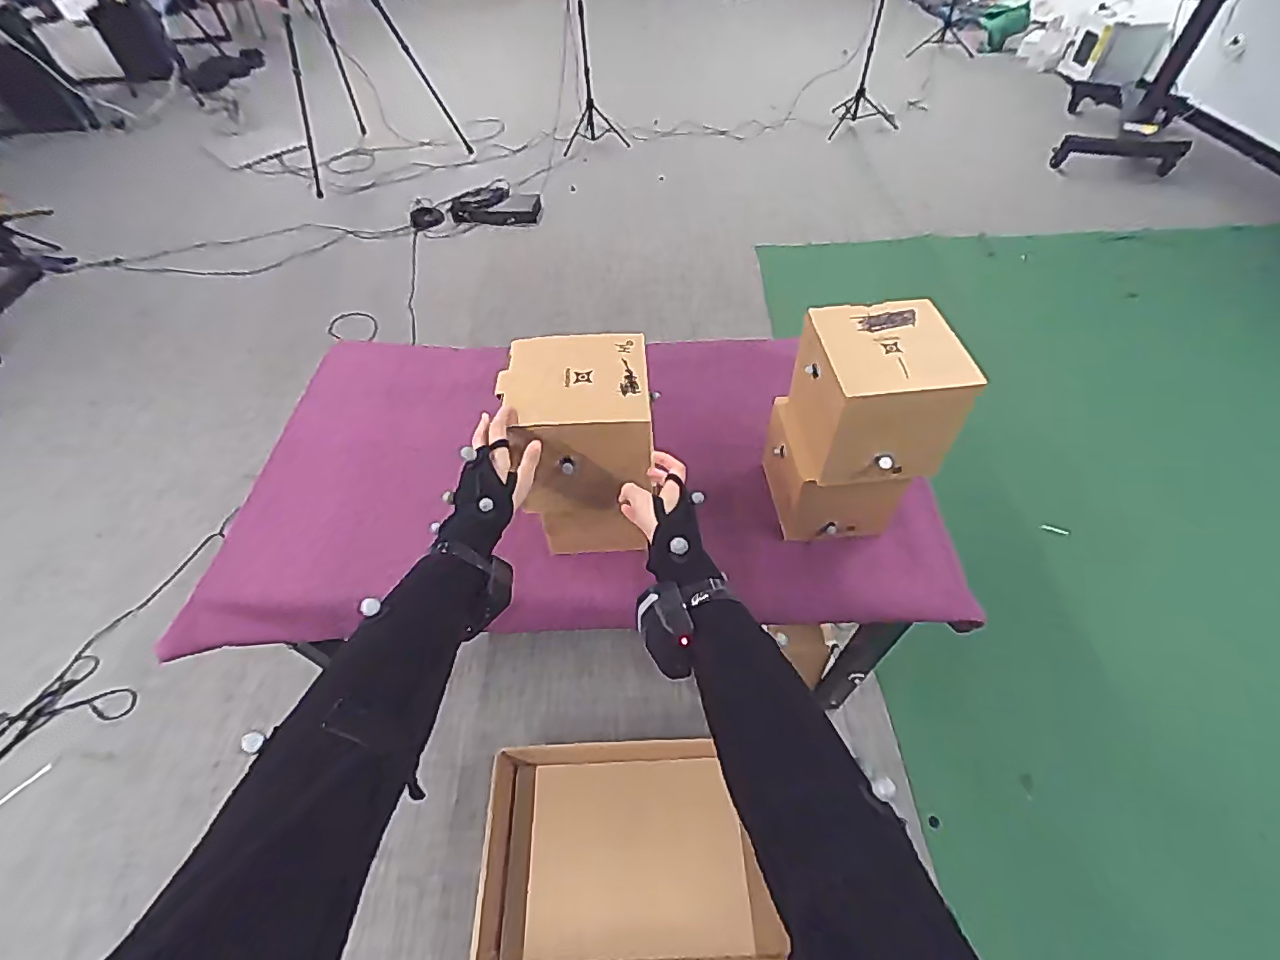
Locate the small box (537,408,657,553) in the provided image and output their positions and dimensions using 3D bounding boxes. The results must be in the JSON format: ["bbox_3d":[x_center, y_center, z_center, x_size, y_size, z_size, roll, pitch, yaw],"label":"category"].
[{"bbox_3d":[-0.064,0.003,0.862,0.179,0.176,0.168,-3,50,1],"label":"small box"}]

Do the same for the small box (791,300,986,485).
[{"bbox_3d":[0.311,-0.115,0.726,0.168,0.176,0.179,-5,51,1],"label":"small box"}]

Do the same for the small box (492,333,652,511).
[{"bbox_3d":[-0.077,-0.071,0.712,0.179,0.176,0.168,-3,51,1],"label":"small box"}]

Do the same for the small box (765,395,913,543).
[{"bbox_3d":[0.302,-0.021,0.862,0.168,0.176,0.179,-5,51,1],"label":"small box"}]
